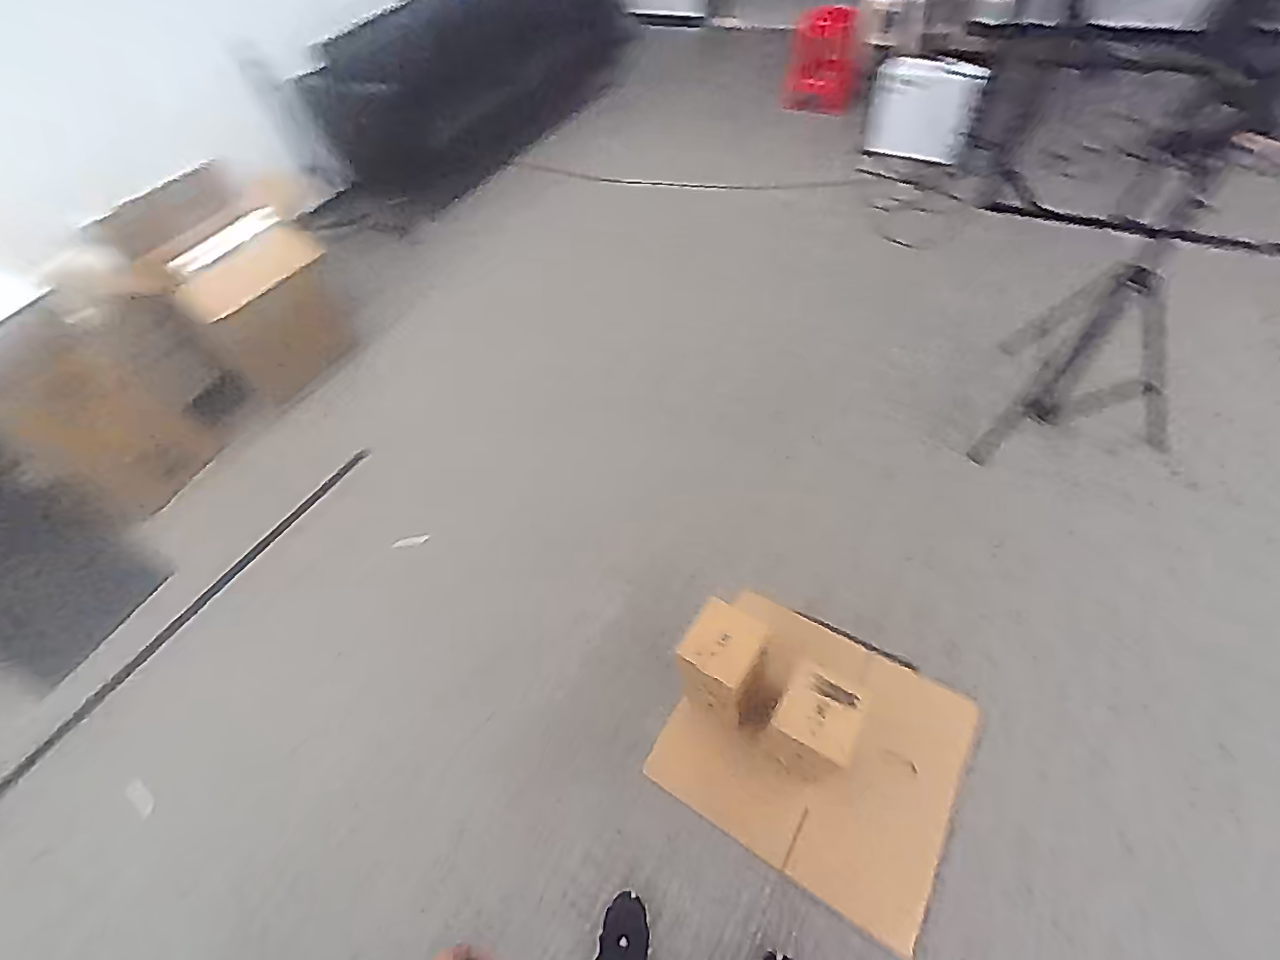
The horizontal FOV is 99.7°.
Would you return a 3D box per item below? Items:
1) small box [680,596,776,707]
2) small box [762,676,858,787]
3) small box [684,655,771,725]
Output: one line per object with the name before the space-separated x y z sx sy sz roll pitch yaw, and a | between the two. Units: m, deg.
small box | 0.215 0.425 1.335 0.168 0.176 0.179 28 63 27
small box | 0.419 0.634 1.357 0.168 0.176 0.179 28 63 26
small box | 0.241 0.531 1.460 0.168 0.176 0.179 27 63 26
